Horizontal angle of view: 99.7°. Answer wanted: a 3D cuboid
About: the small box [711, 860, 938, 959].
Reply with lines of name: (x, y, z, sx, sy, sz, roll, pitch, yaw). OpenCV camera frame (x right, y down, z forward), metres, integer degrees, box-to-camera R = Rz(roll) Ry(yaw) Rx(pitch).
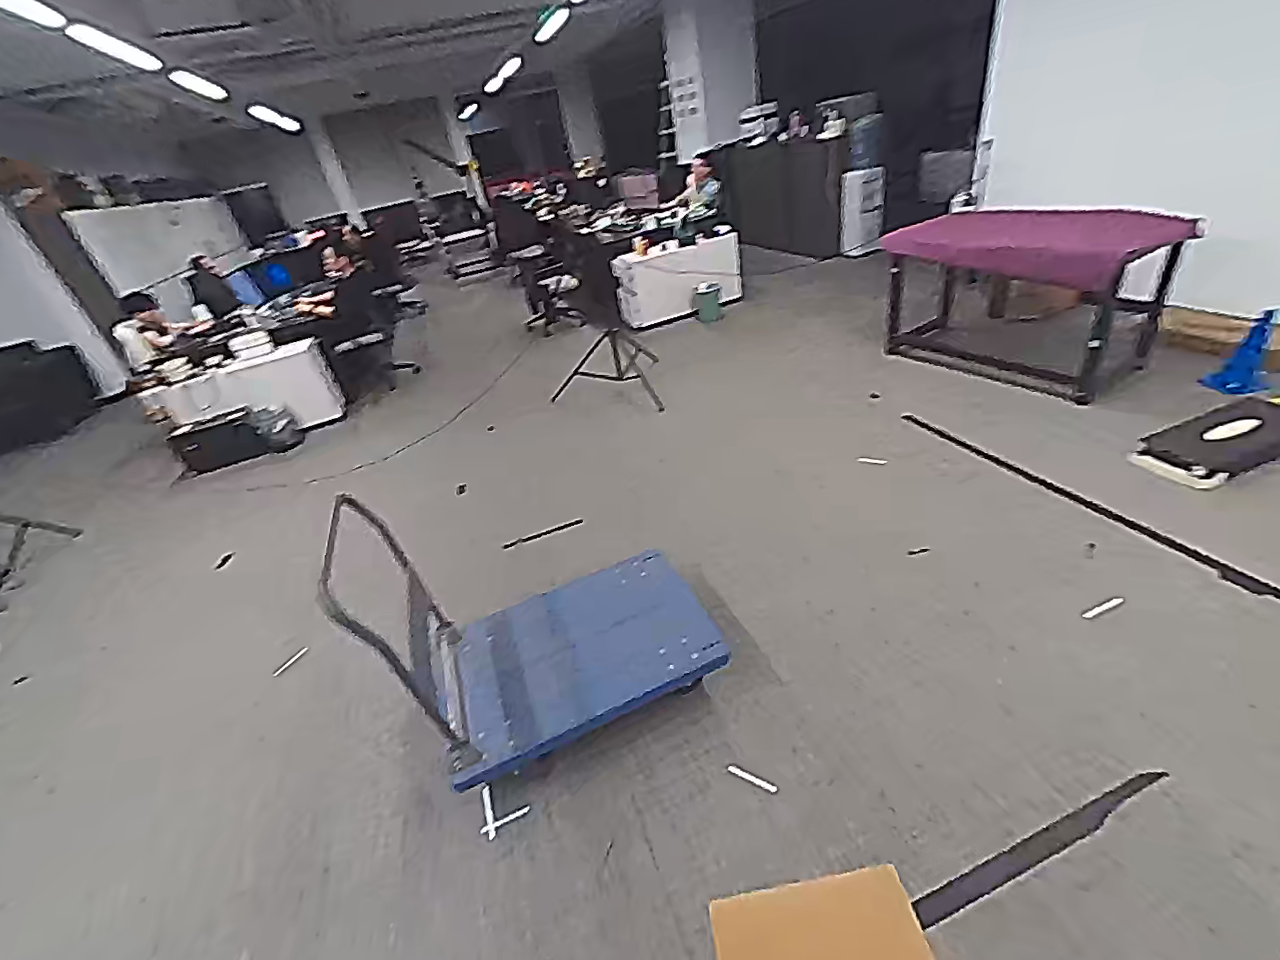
small box: (0.160, 0.453, 0.435, 0.168, 0.176, 0.179, -12, 34, 0)
